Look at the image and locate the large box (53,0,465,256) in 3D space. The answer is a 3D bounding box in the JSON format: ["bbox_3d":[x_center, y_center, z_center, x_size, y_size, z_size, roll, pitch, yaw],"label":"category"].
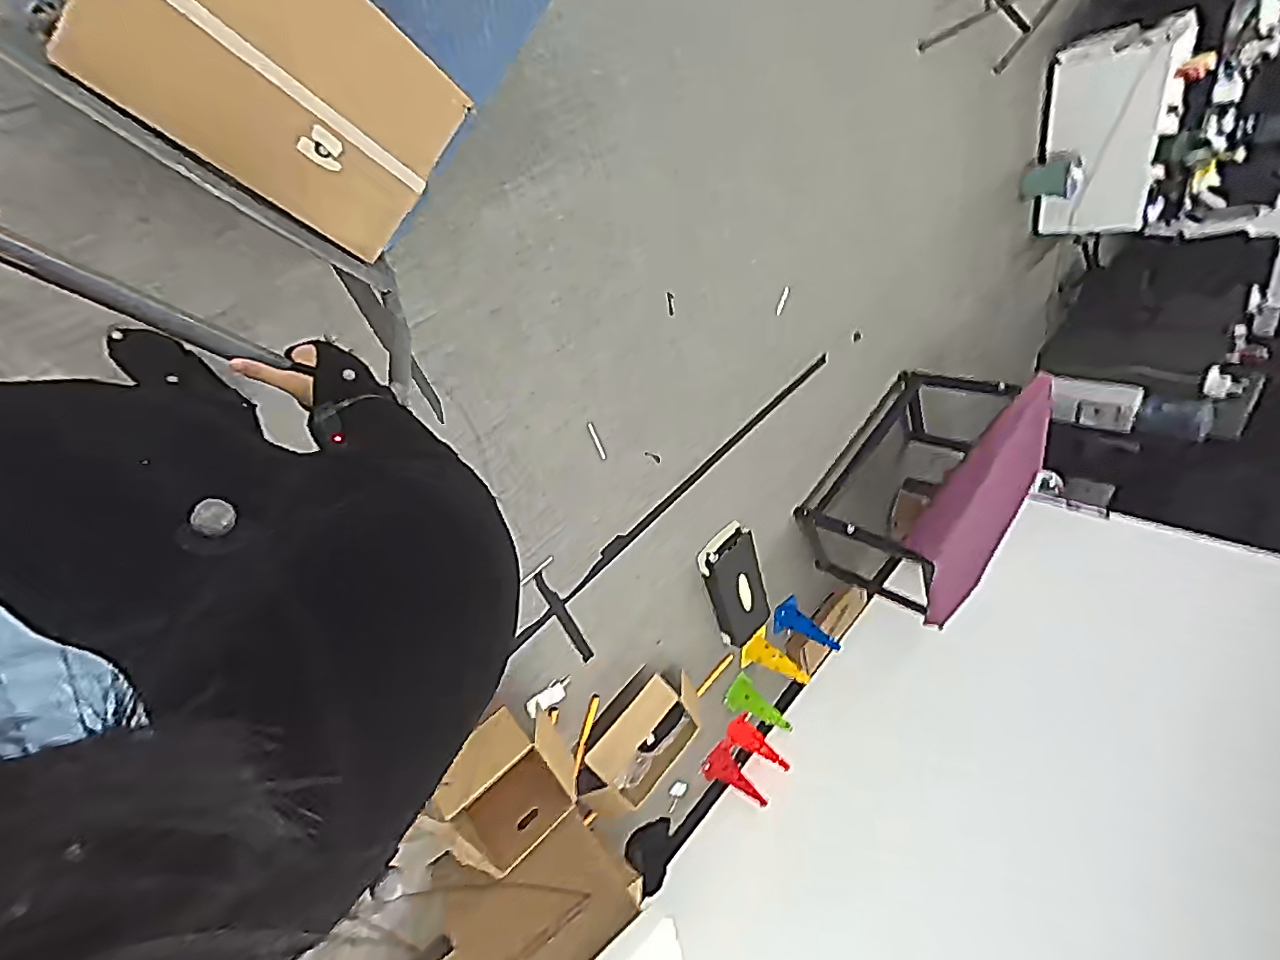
[{"bbox_3d":[-0.570,-0.645,0.863,0.320,0.320,0.408,-50,137,12],"label":"large box"}]
